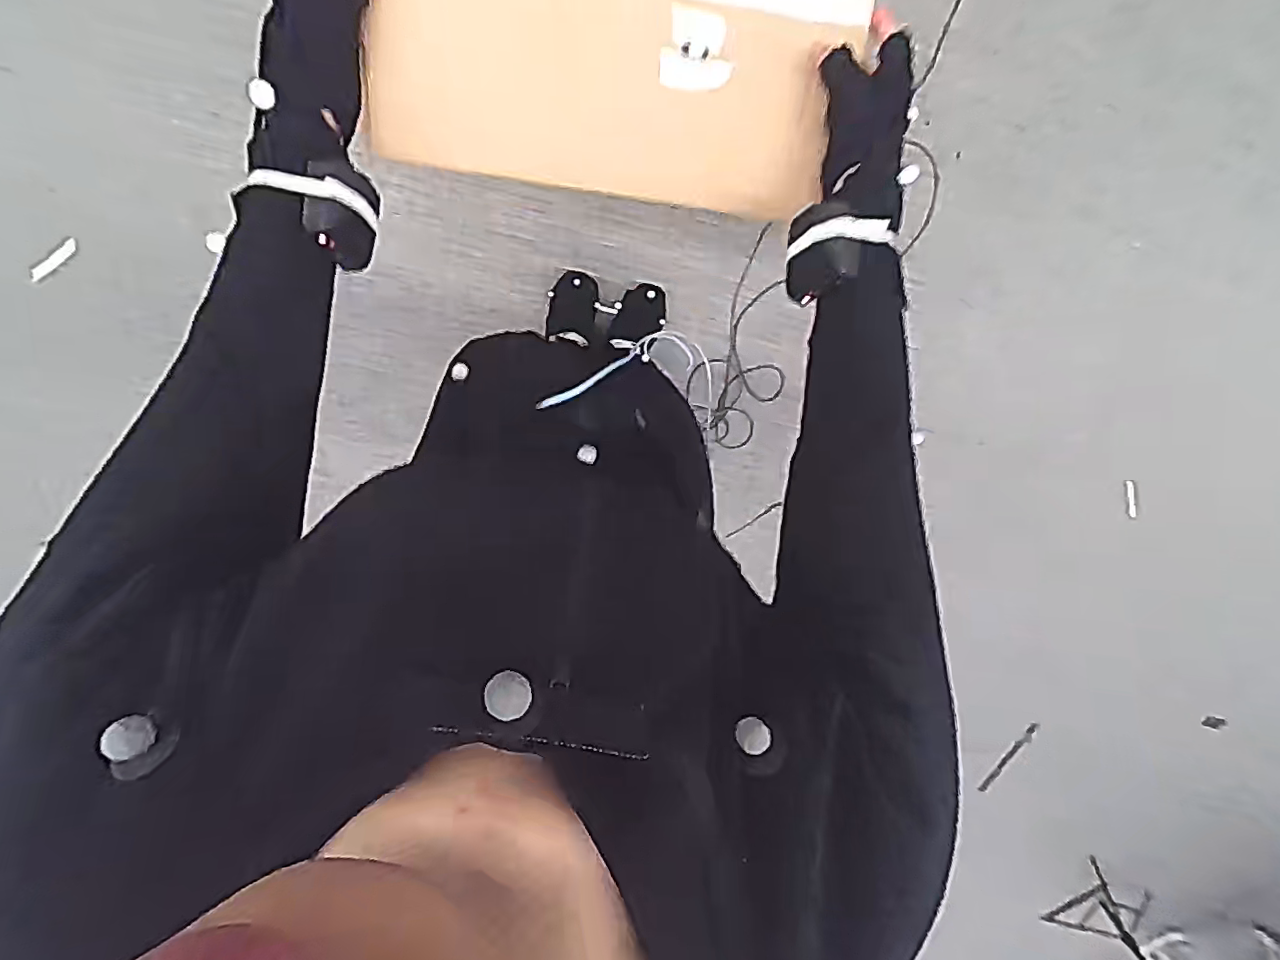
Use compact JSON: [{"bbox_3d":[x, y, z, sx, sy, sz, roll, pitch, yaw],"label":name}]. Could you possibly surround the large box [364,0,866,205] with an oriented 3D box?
[{"bbox_3d":[-0.021,-0.480,0.543,0.408,0.320,0.320,5,120,-7],"label":"large box"}]
